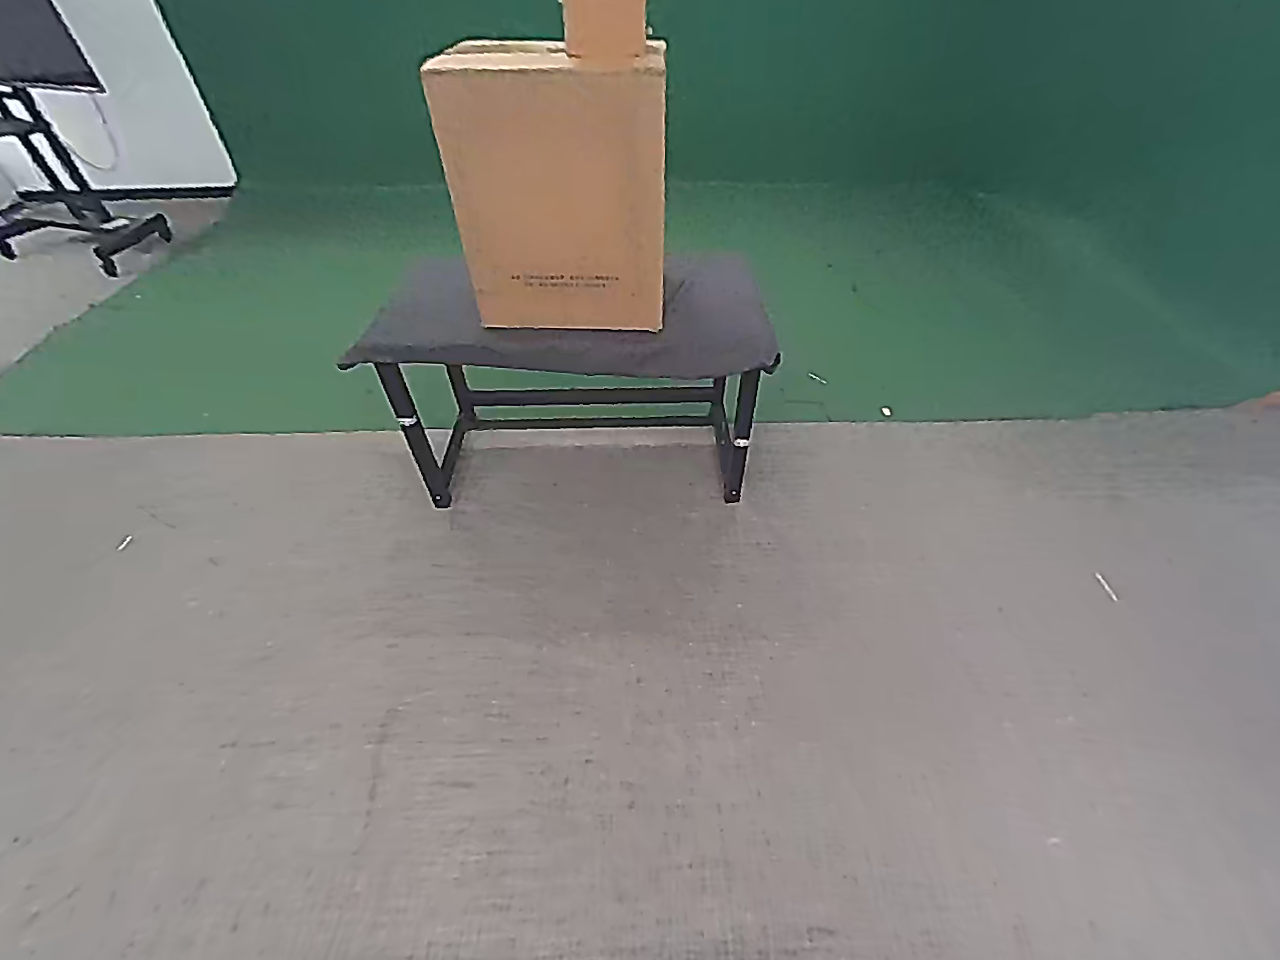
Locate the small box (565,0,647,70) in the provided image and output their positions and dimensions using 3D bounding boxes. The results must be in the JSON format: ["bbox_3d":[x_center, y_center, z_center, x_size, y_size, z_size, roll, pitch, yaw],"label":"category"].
[{"bbox_3d":[-0.075,-1.047,1.221,0.179,0.176,0.168,3,48,0],"label":"small box"}]
